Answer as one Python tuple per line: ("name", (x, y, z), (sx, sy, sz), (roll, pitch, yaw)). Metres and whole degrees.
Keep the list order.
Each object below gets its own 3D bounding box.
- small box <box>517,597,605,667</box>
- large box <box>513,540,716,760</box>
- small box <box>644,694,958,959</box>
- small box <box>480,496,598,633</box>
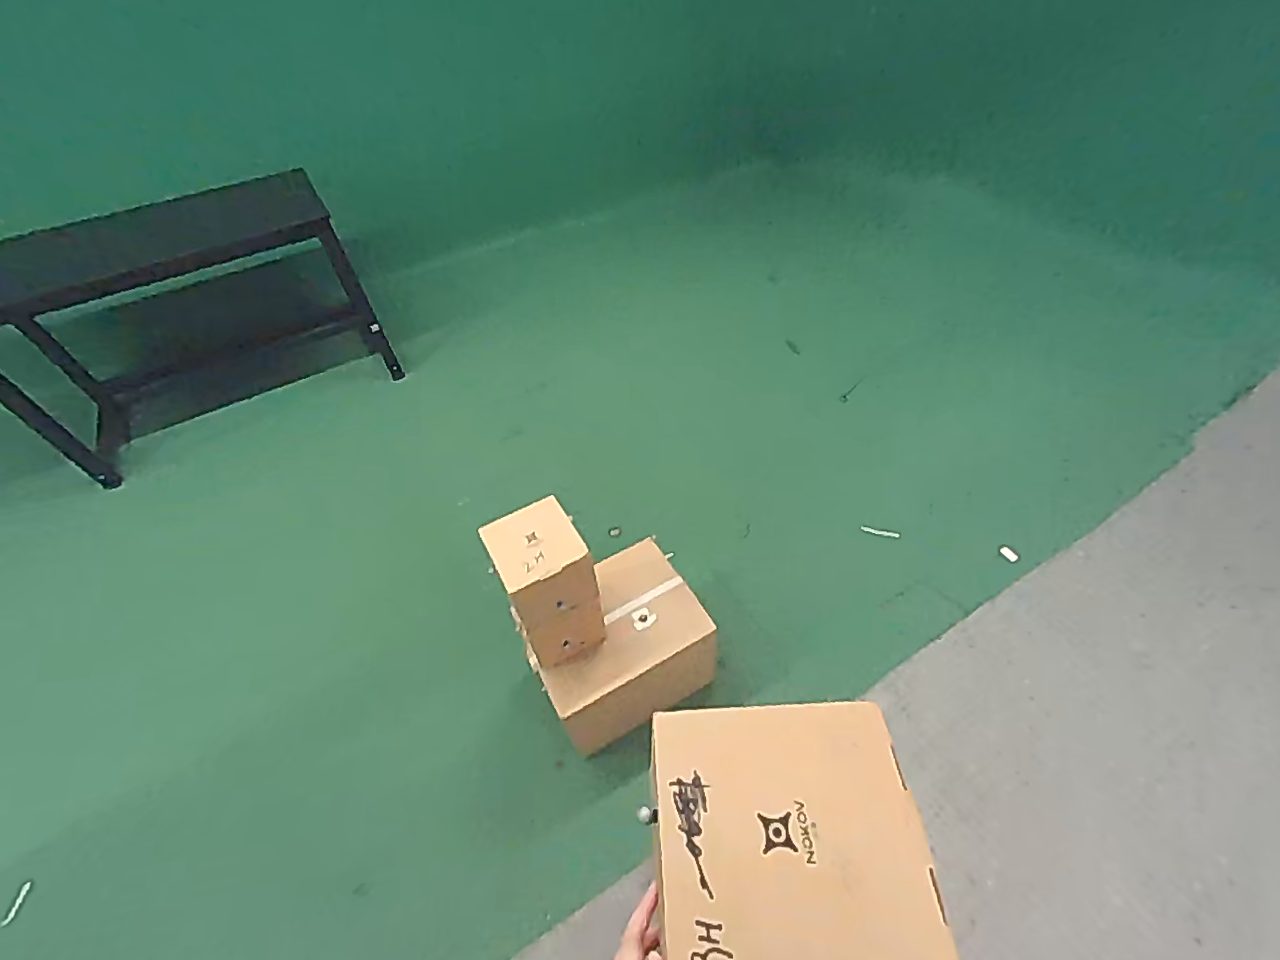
("small box", (-0.191, 0.281, 1.211), (0.168, 0.176, 0.179), (-25, 50, -17))
("large box", (-0.058, 0.432, 1.390), (0.408, 0.320, 0.320), (-25, 51, -17))
("small box", (0.094, 0.275, 0.415), (0.179, 0.176, 0.168), (-1, 49, -1))
("small box", (-0.199, 0.171, 1.089), (0.168, 0.176, 0.179), (-26, 51, -17))
